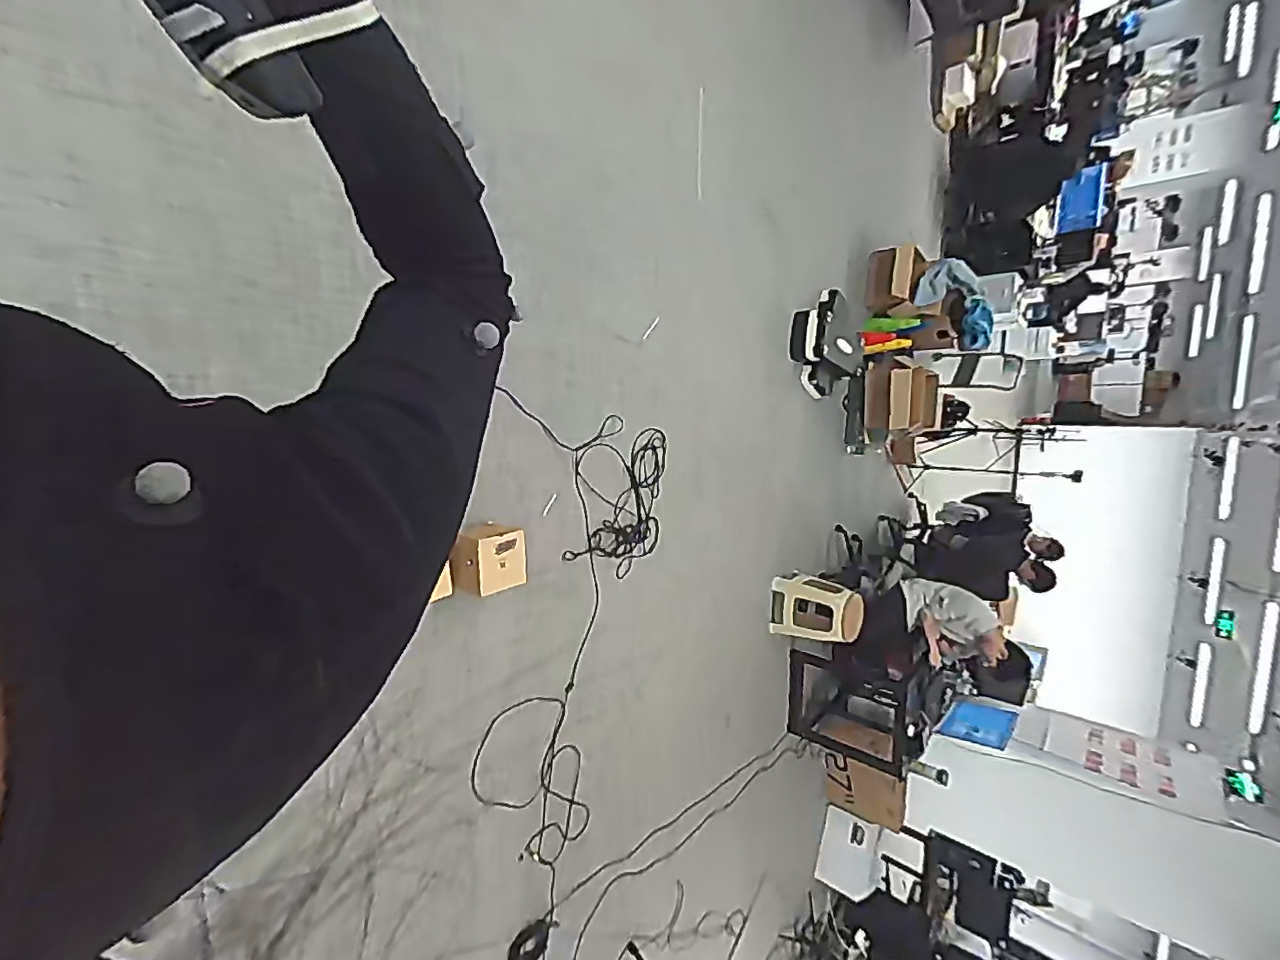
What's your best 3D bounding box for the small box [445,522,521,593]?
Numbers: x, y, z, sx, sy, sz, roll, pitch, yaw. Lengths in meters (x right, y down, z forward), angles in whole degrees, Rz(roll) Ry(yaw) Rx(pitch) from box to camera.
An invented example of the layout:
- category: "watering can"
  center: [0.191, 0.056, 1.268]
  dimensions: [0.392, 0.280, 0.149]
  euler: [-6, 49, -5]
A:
- category: "small box"
  center: [-0.490, 0.230, 1.680]
  dimensions: [0.168, 0.176, 0.179]
  euler: [-11, 104, -49]
